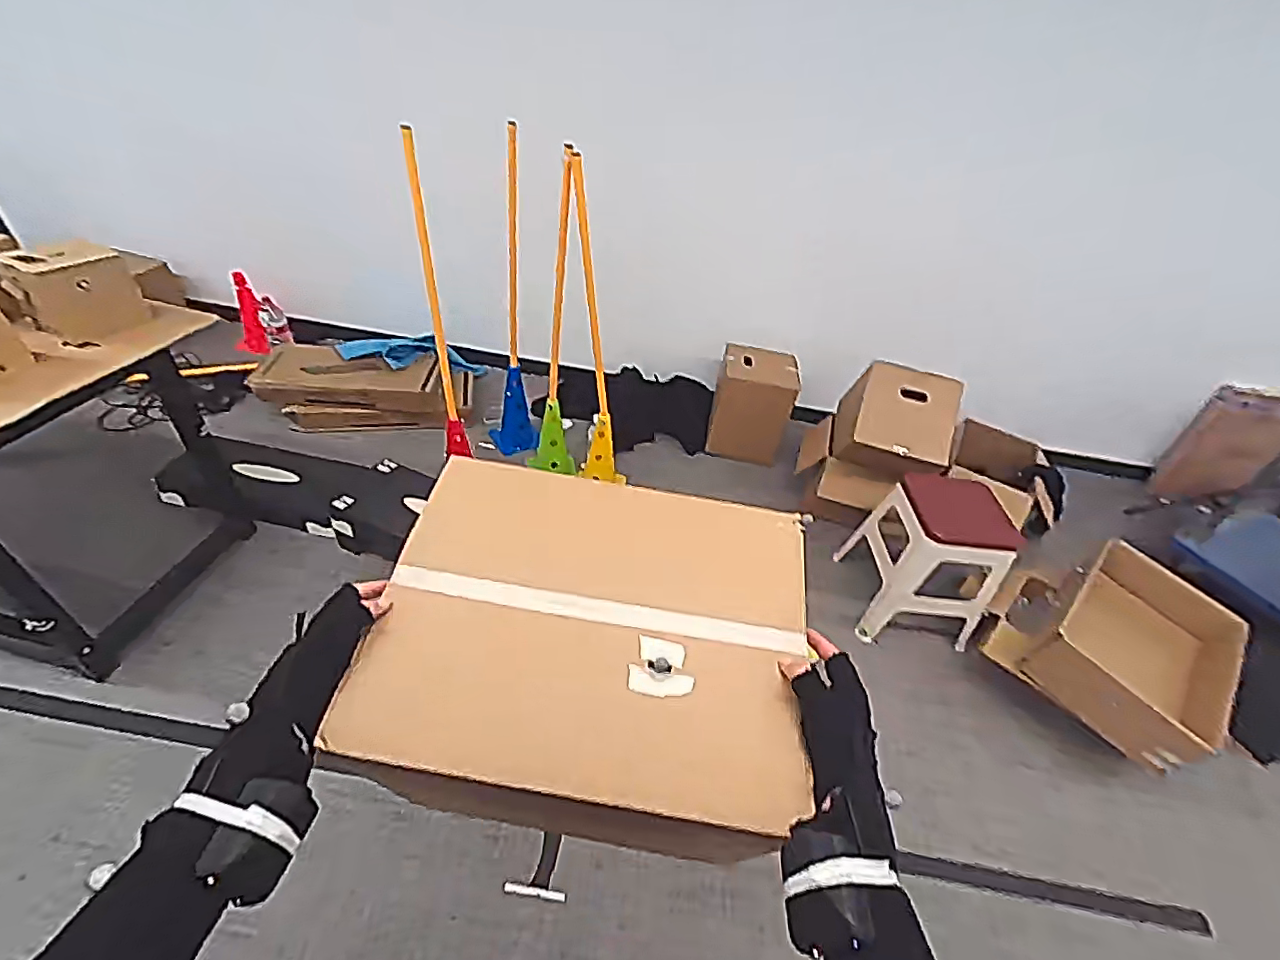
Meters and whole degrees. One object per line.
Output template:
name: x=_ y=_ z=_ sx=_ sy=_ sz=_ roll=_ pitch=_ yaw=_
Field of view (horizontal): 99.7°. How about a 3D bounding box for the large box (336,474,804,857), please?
large box: x=-0.055 y=0.231 z=0.654 sx=0.408 sy=0.320 sz=0.320 roll=10 pitch=52 yaw=1
